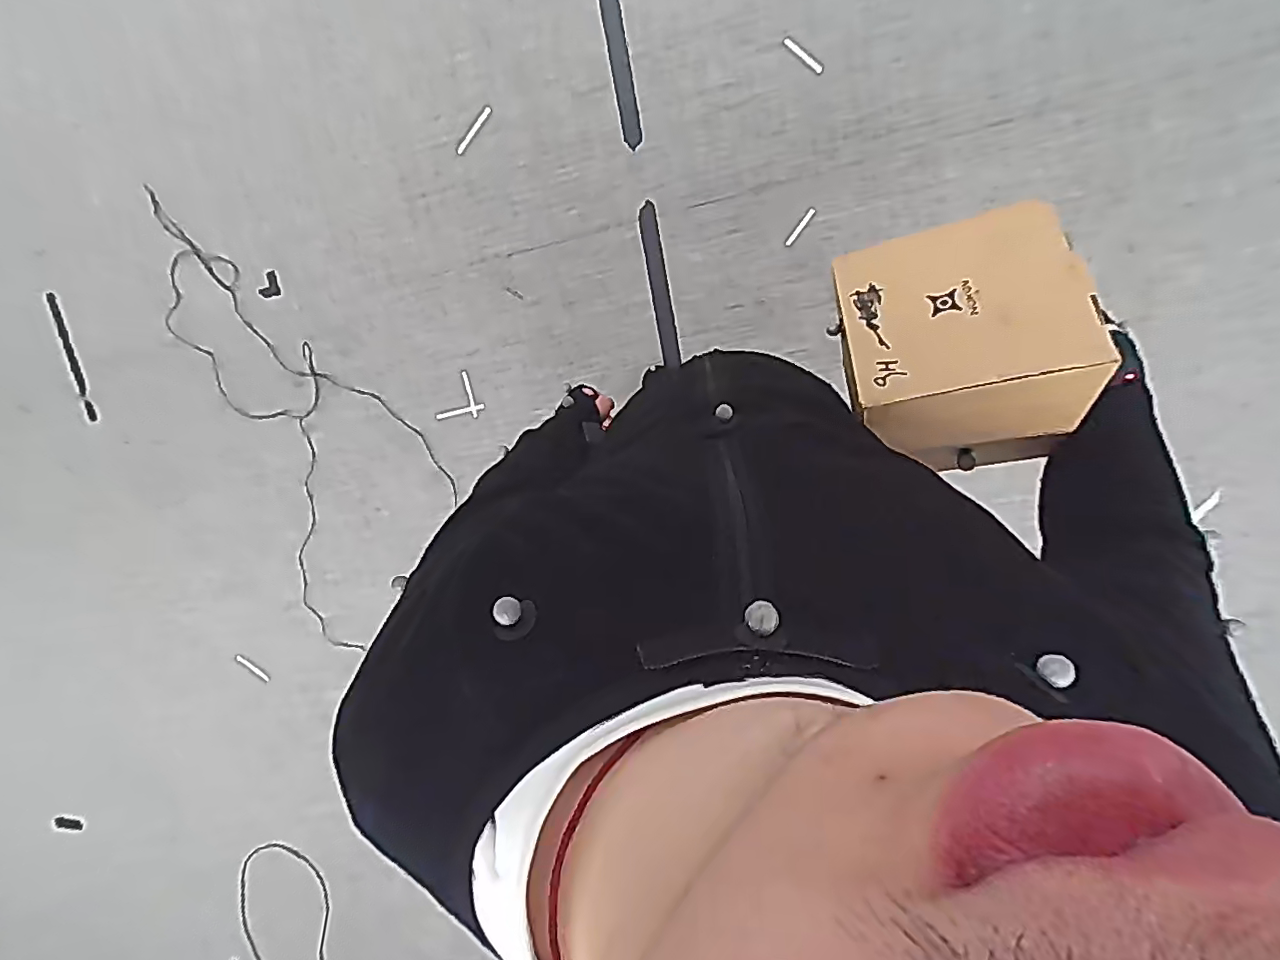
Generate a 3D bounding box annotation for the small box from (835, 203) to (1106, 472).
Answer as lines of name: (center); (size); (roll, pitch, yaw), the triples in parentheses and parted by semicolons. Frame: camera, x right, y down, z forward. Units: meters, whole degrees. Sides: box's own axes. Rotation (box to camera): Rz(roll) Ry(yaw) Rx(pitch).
small box: (0.295, -0.121, 0.526); (0.179, 0.176, 0.168); (-9, 64, 20)
